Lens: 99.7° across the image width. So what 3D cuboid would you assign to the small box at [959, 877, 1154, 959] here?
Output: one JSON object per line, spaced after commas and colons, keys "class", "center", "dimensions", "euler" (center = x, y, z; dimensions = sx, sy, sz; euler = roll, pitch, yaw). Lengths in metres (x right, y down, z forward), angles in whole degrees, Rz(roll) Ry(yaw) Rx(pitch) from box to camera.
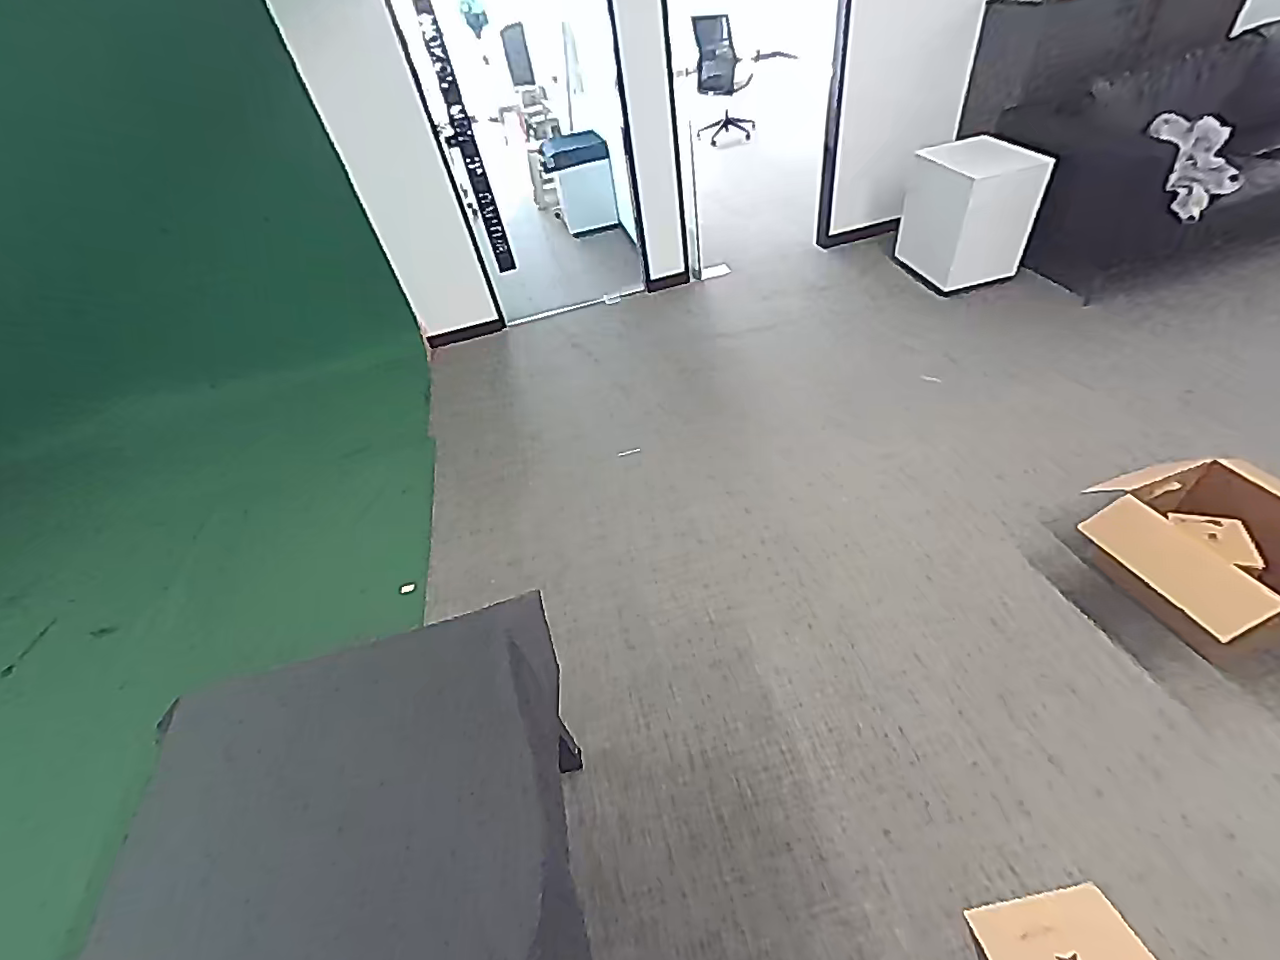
{"class": "small box", "center": [0.514, 0.622, 0.626], "dimensions": [0.168, 0.176, 0.179], "euler": [-19, 9, 6]}
